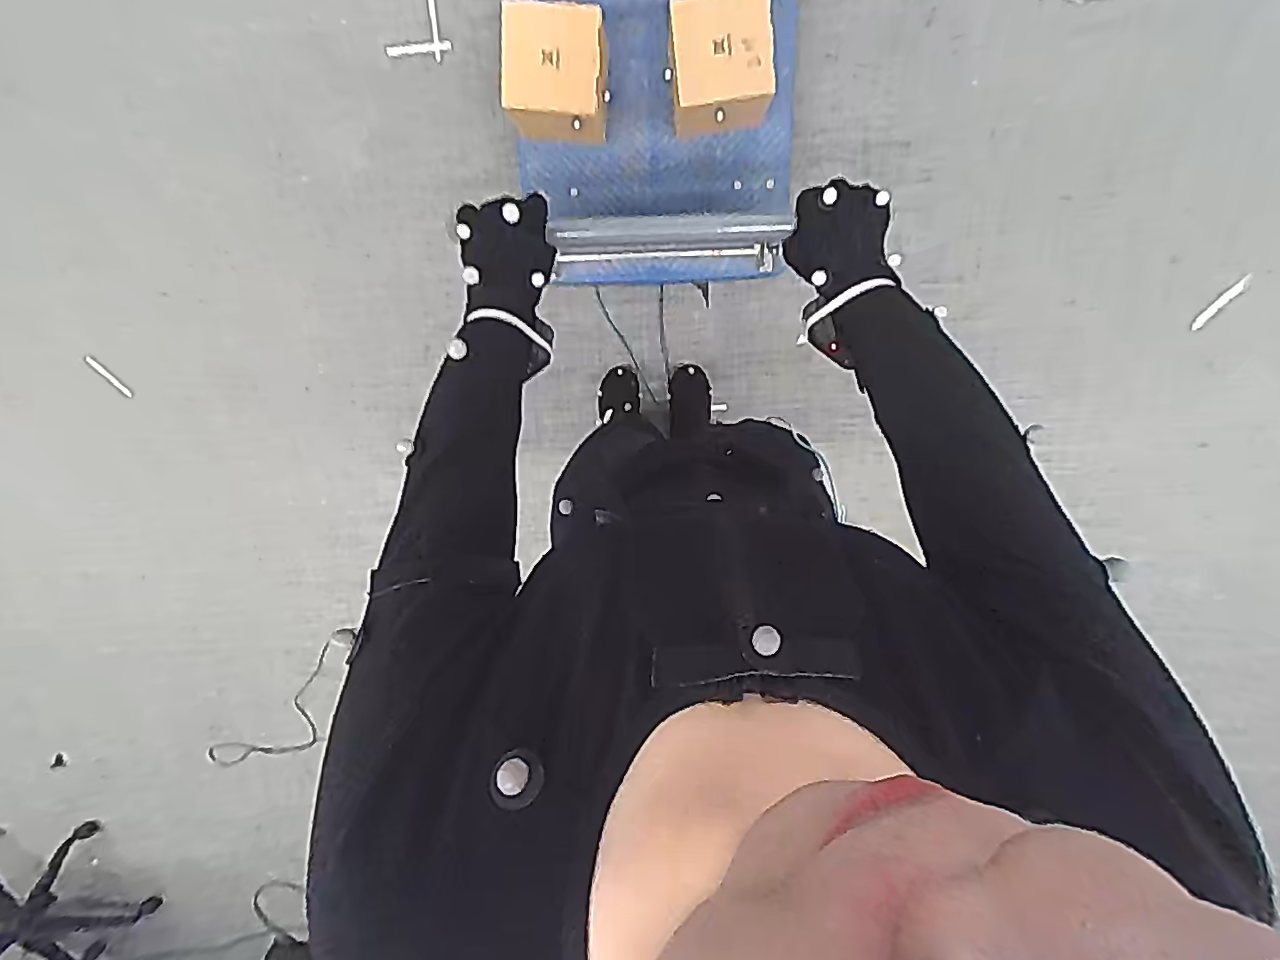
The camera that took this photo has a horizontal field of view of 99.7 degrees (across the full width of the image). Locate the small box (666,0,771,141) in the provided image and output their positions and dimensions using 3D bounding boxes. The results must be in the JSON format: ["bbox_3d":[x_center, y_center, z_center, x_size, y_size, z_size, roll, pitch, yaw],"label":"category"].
[{"bbox_3d":[0.145,-0.777,1.037,0.179,0.176,0.168,-7,105,3],"label":"small box"}]

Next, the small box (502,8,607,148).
[{"bbox_3d":[-0.161,-0.766,1.049,0.179,0.176,0.168,3,105,-1],"label":"small box"}]
